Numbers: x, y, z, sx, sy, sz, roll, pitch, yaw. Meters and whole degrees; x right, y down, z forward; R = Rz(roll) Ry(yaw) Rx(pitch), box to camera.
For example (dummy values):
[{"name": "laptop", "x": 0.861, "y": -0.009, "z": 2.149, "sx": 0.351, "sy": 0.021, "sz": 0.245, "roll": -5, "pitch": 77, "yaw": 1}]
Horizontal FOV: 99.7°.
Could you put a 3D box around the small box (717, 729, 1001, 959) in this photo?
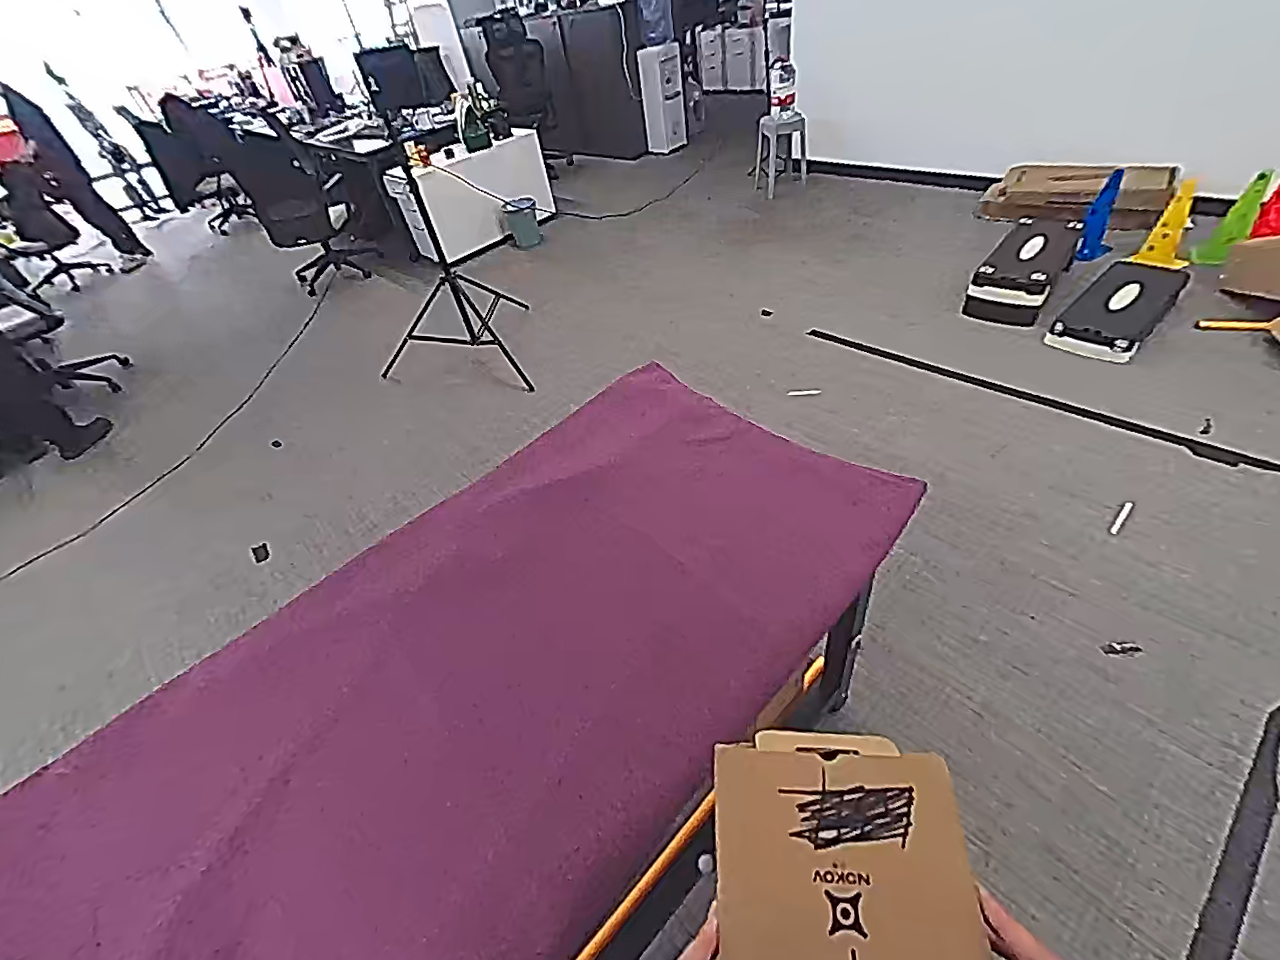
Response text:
[{"name": "small box", "x": 0.143, "y": 0.306, "z": 0.413, "sx": 0.168, "sy": 0.176, "sz": 0.179, "roll": -1, "pitch": 54, "yaw": 7}]
